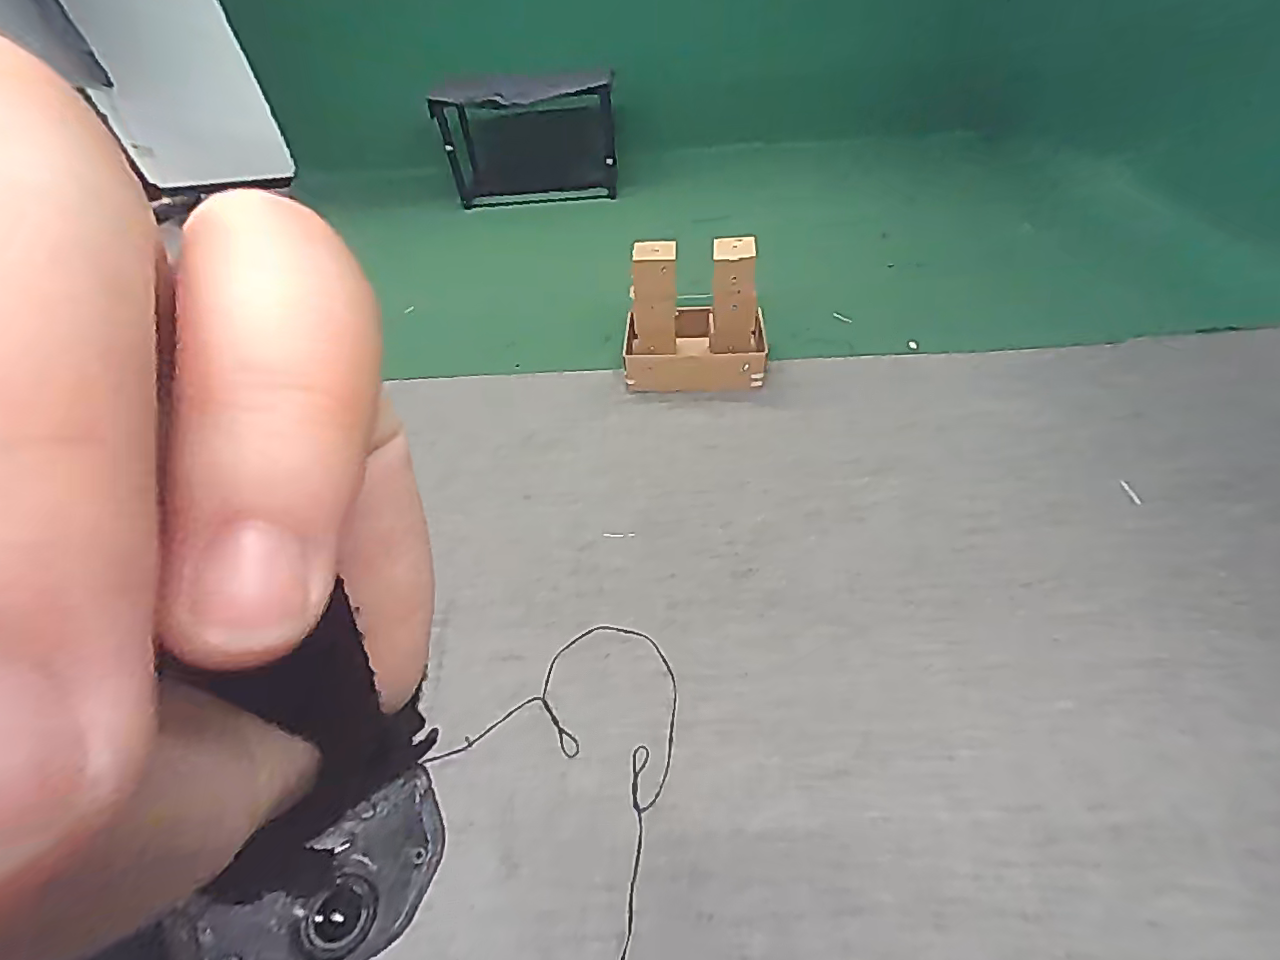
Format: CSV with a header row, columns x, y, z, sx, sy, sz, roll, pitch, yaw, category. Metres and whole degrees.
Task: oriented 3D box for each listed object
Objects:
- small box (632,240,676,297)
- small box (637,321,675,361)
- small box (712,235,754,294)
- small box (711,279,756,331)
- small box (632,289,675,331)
x,y,z,sx,sy,sz,roll,pitch,yaw,category
0.061,-0.871,2.230,0.179,0.176,0.168,-1,47,5,small box
0.078,-0.658,2.481,0.168,0.176,0.179,-1,48,4,small box
0.379,-0.871,2.200,0.168,0.176,0.179,0,50,8,small box
0.398,-0.755,2.315,0.179,0.176,0.168,-2,49,5,small box
0.062,-0.762,2.354,0.179,0.176,0.168,0,48,4,small box
